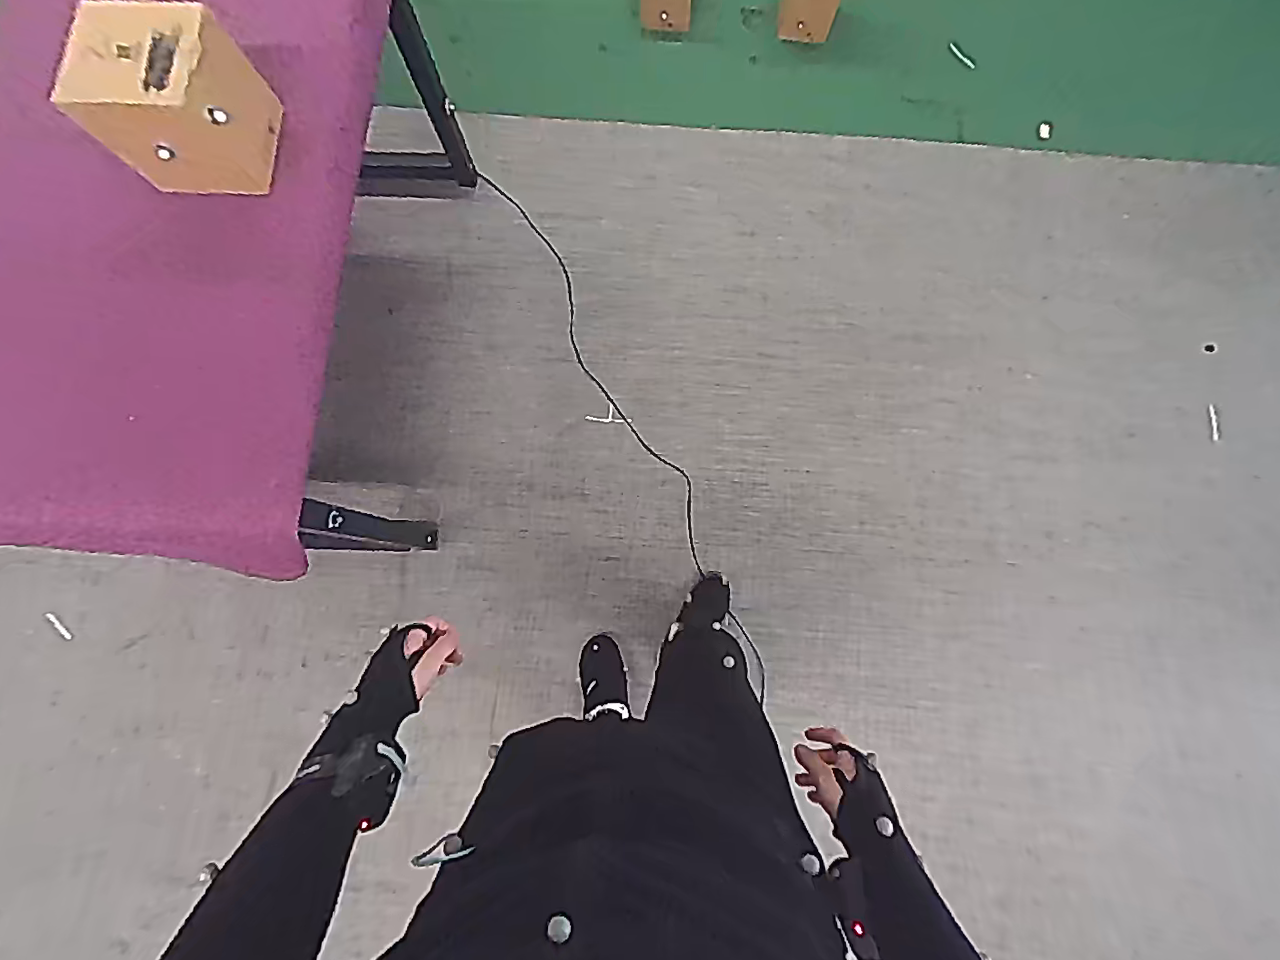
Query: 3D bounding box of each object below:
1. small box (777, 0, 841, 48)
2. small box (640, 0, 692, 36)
[{"bbox_3d":[0.546,-1.553,1.744,0.168,0.176,0.179,6,80,0],"label":"small box"},{"bbox_3d":[0.090,-1.592,1.746,0.168,0.176,0.179,5,79,1],"label":"small box"}]
